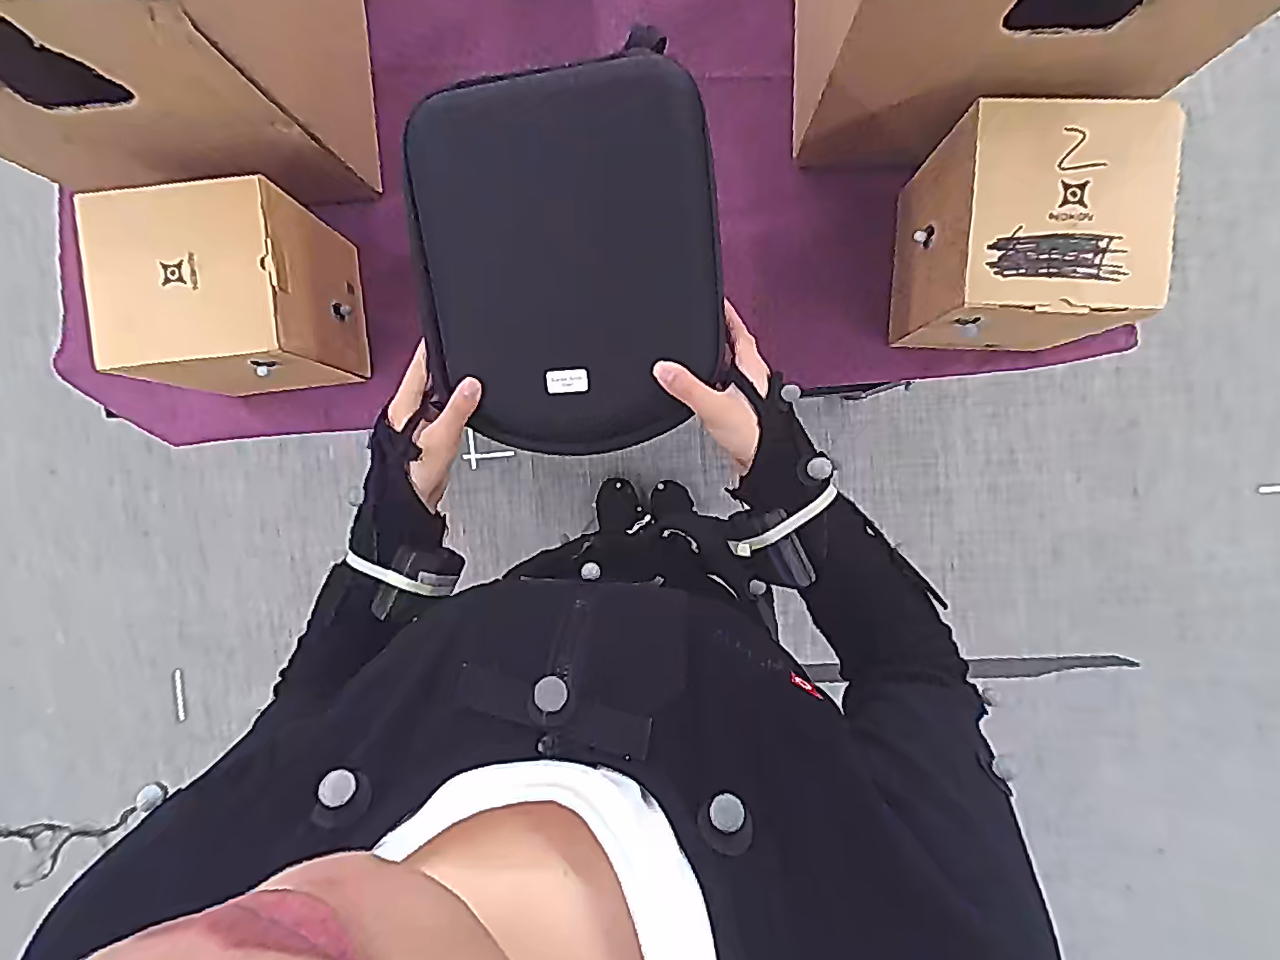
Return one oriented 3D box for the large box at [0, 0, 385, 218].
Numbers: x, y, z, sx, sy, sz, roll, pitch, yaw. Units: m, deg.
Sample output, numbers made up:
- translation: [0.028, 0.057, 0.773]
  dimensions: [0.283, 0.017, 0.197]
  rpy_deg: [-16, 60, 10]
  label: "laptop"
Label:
- translation: [-0.481, -0.522, 0.509]
  dimensions: [0.320, 0.320, 0.408]
  rpy_deg: [-5, 95, 2]
  label: "large box"
